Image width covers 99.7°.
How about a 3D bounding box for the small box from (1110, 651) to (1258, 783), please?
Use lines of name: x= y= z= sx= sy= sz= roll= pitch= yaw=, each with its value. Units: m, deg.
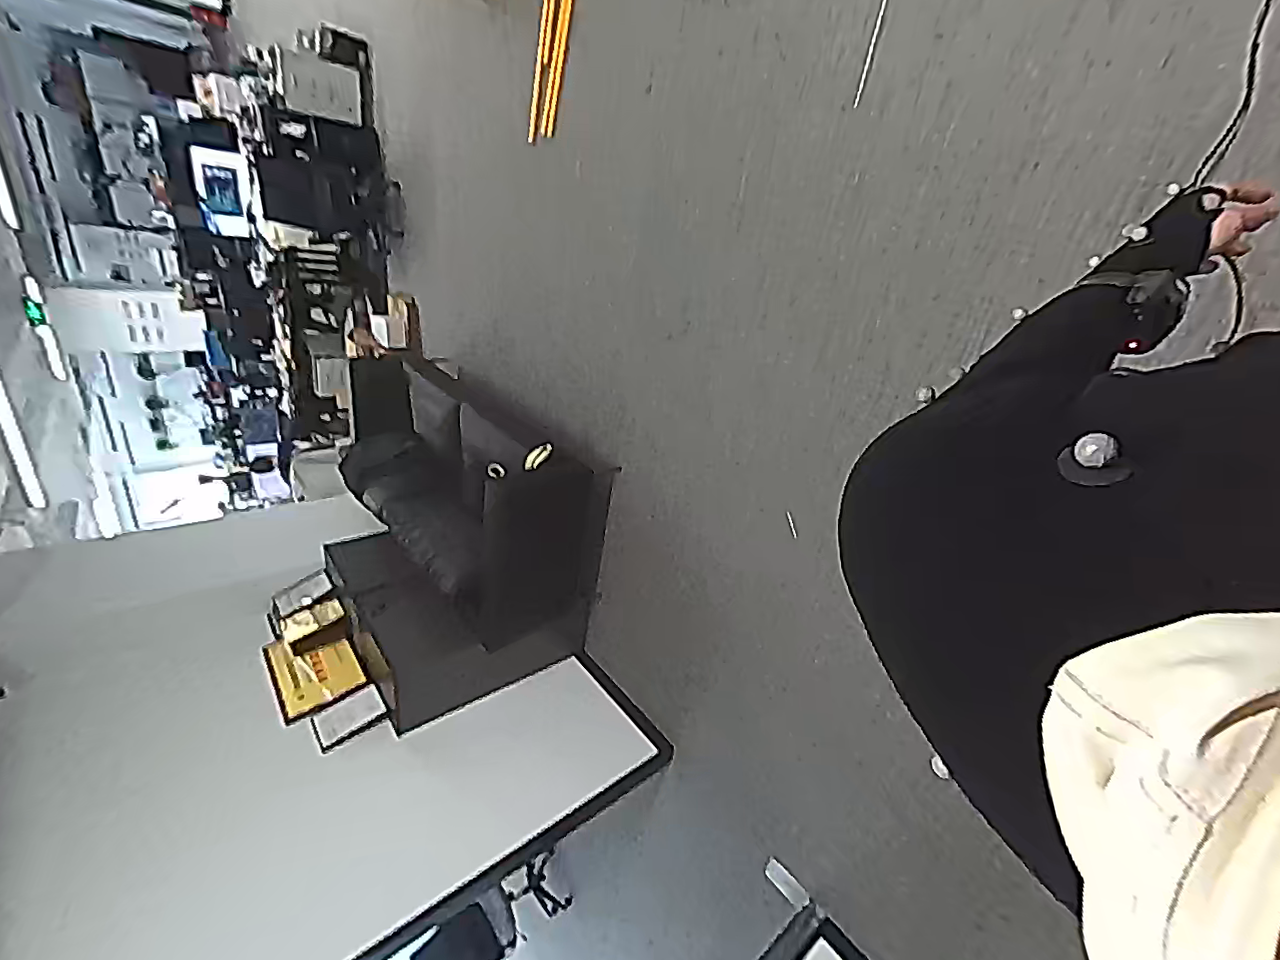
small box: x=1.194 y=0.508 z=1.187 sx=0.179 sy=0.176 sz=0.168 roll=34 pitch=124 yaw=41
